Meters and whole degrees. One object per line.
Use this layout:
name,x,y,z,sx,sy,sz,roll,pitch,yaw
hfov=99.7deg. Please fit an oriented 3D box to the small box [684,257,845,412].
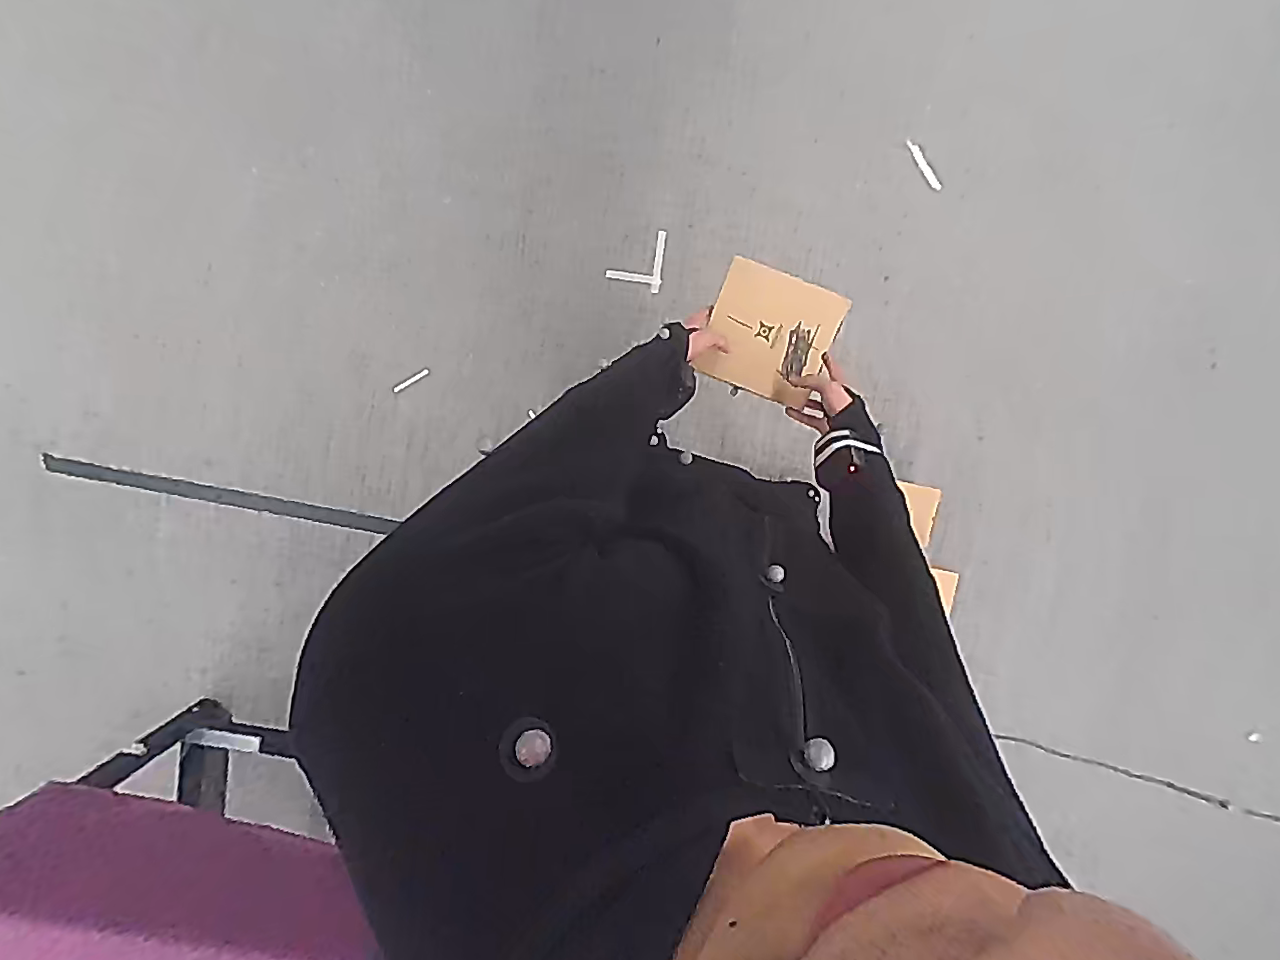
small box,0.179,-0.217,0.827,0.179,0.176,0.168,21,103,1
